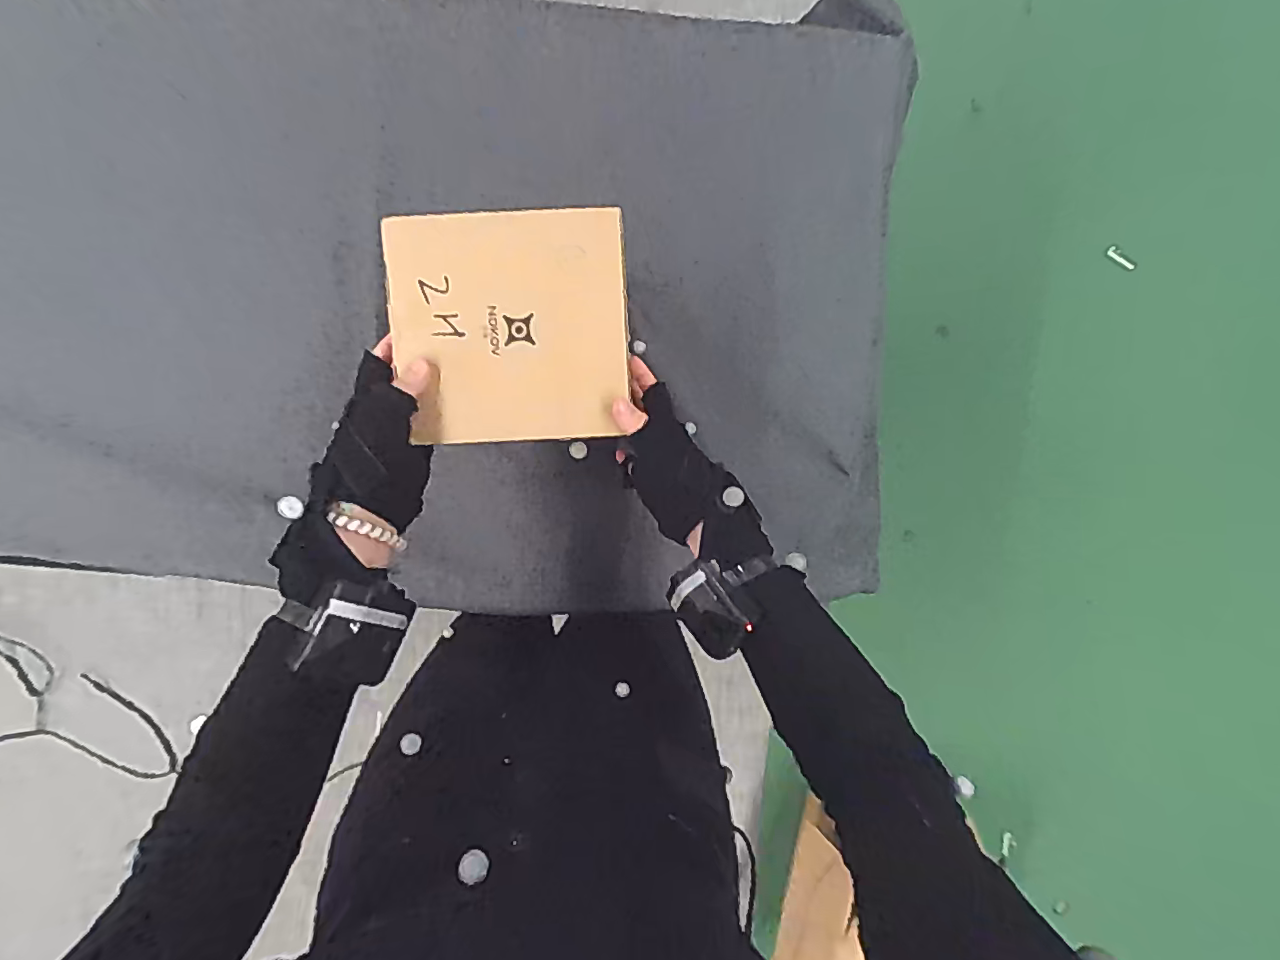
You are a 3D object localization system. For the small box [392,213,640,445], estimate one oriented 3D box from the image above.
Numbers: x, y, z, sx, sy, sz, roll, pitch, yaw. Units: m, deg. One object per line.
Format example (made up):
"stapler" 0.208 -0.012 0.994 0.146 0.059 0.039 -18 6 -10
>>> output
"small box" -0.091 -0.119 0.479 0.179 0.176 0.168 -2 96 0
